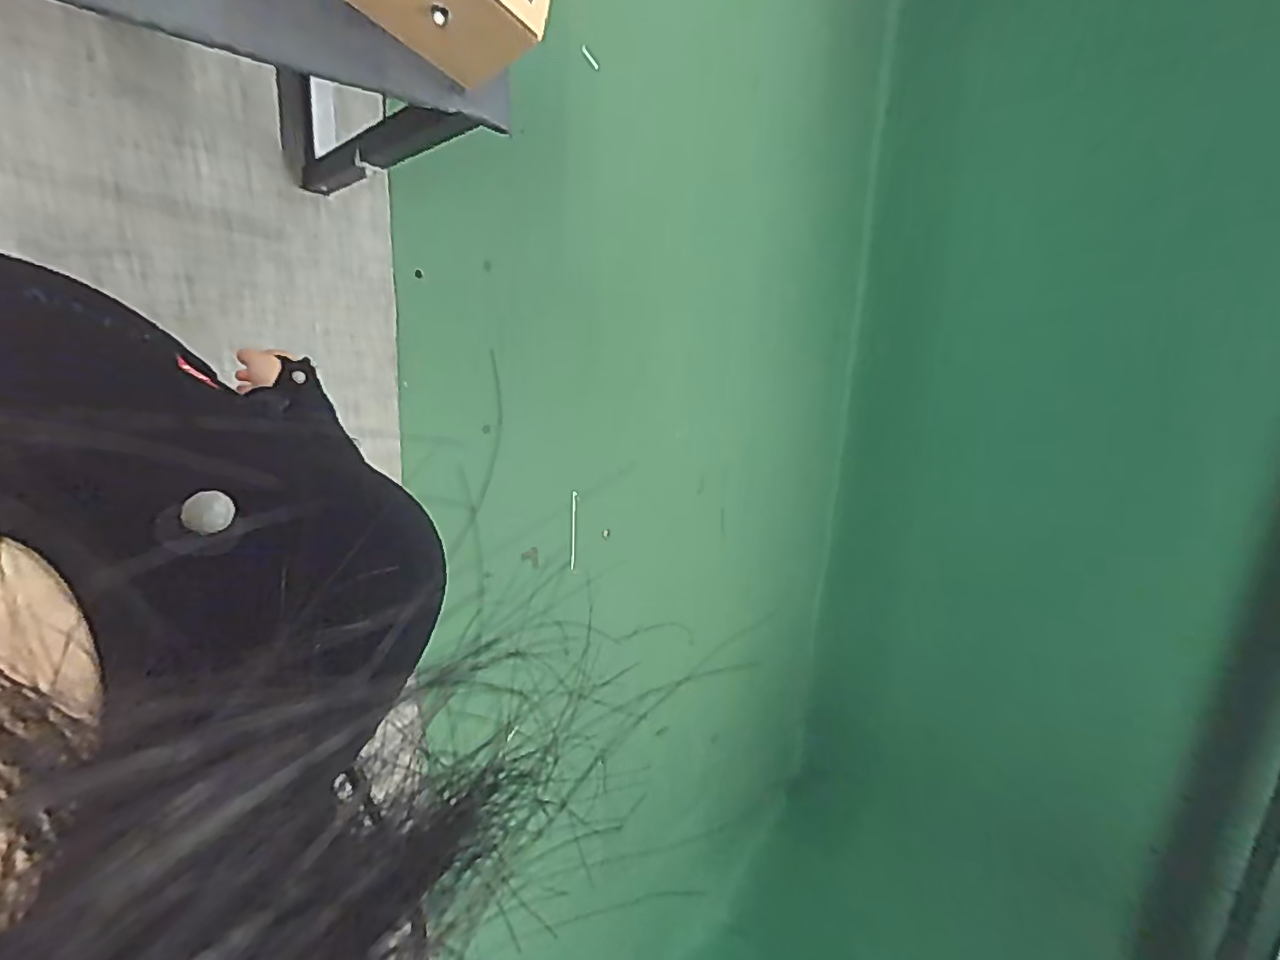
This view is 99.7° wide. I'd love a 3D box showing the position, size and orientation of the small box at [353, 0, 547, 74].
[{"bbox_3d":[-0.222,-0.628,0.638,0.179,0.176,0.168,10,90,-48],"label":"small box"}]
